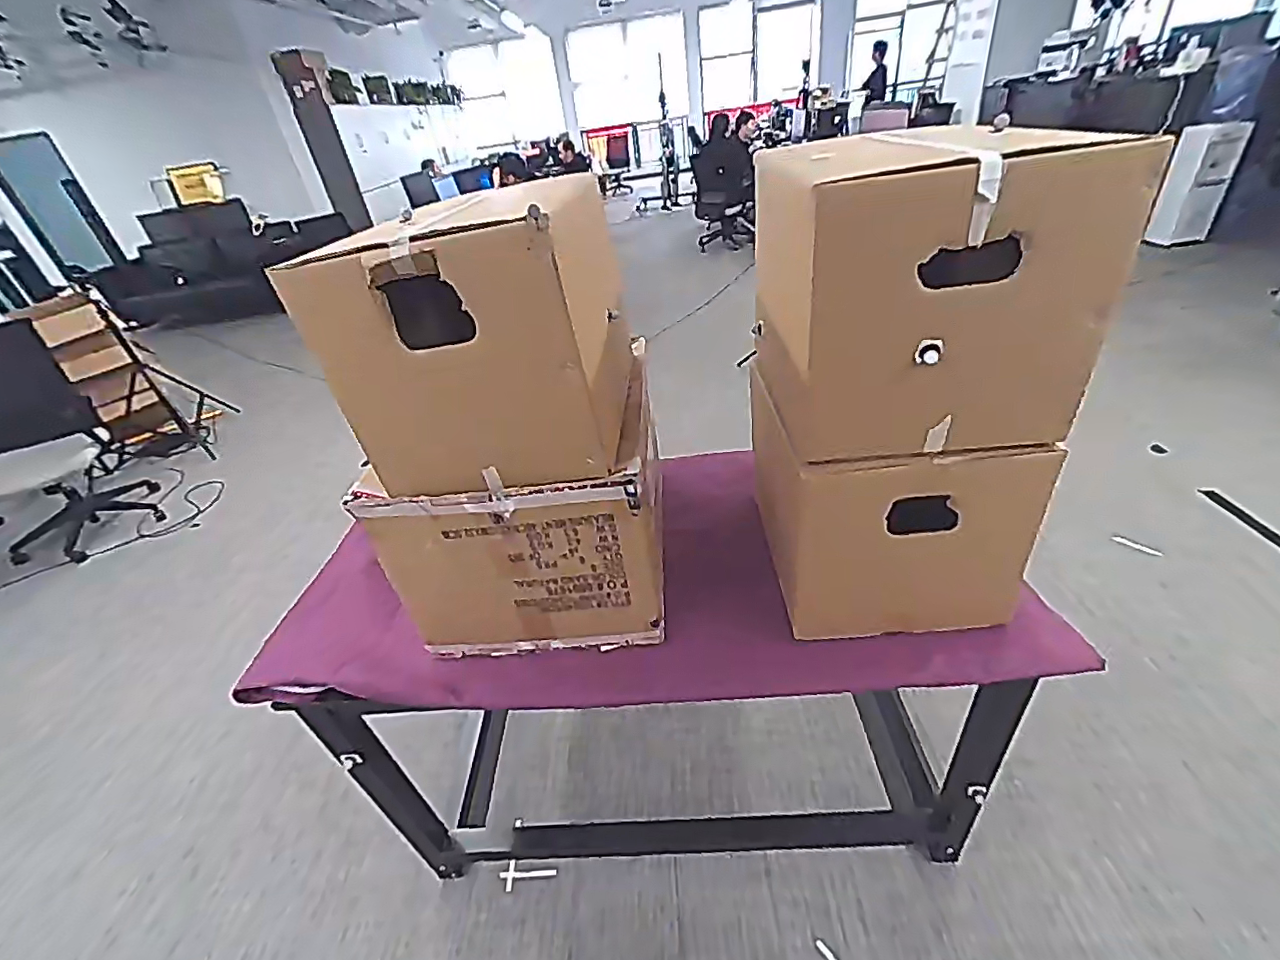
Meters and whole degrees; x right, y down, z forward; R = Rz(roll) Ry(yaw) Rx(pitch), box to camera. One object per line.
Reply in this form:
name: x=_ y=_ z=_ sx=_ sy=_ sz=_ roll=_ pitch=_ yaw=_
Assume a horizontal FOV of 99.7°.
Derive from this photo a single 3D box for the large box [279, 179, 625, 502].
large box: x=-0.204 y=-0.221 z=0.795 sx=0.320 sy=0.320 sz=0.408 roll=-8 pitch=34 yaw=8
